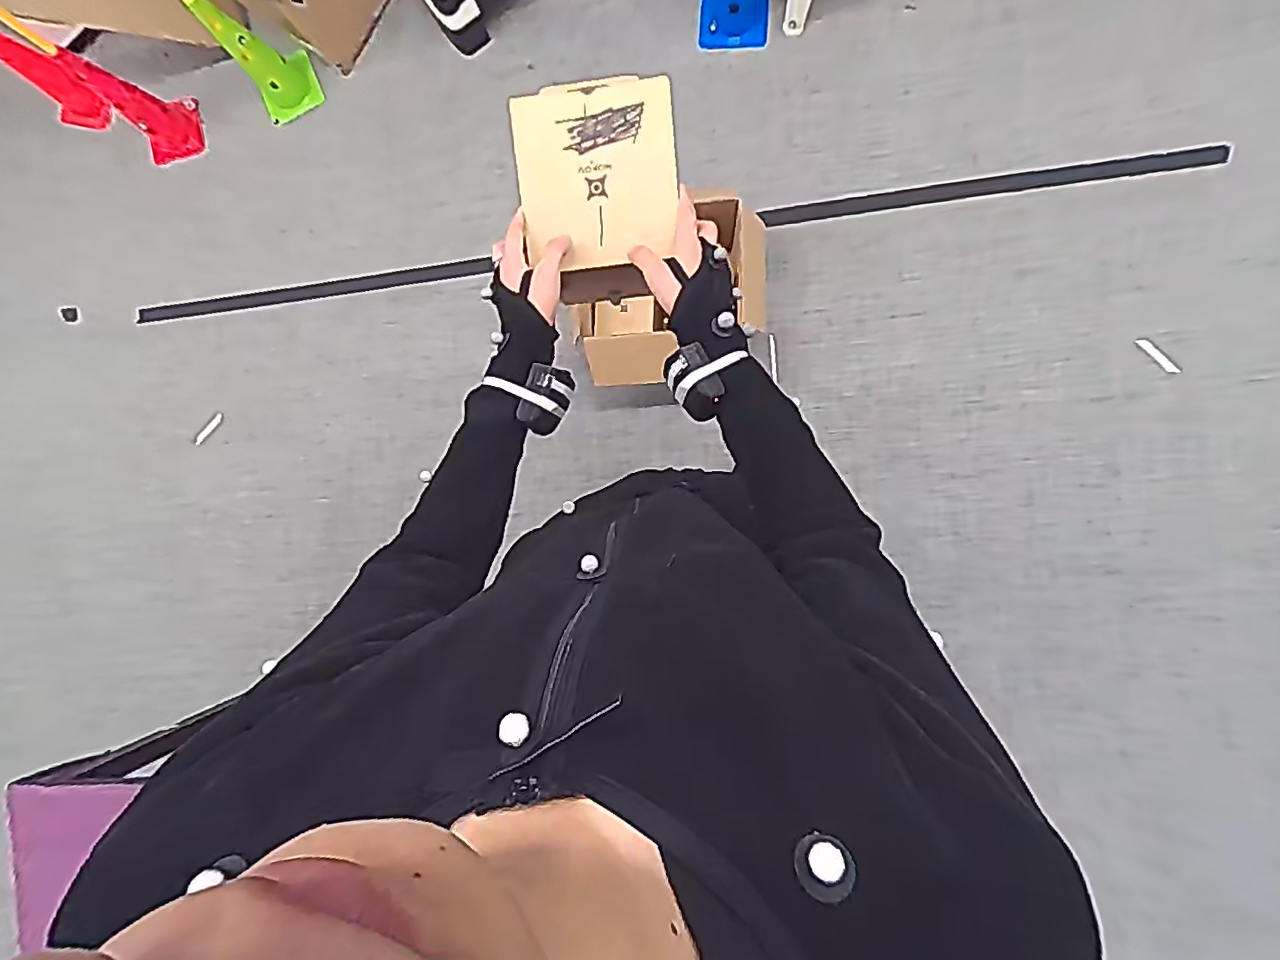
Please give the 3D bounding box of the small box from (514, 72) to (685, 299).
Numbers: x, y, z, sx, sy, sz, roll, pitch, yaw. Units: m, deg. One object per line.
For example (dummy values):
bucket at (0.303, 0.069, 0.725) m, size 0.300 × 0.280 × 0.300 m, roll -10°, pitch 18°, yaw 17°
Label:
small box at (-0.036, -0.325, 0.633) m, size 0.168 × 0.176 × 0.179 m, roll -5°, pitch 98°, yaw 6°
